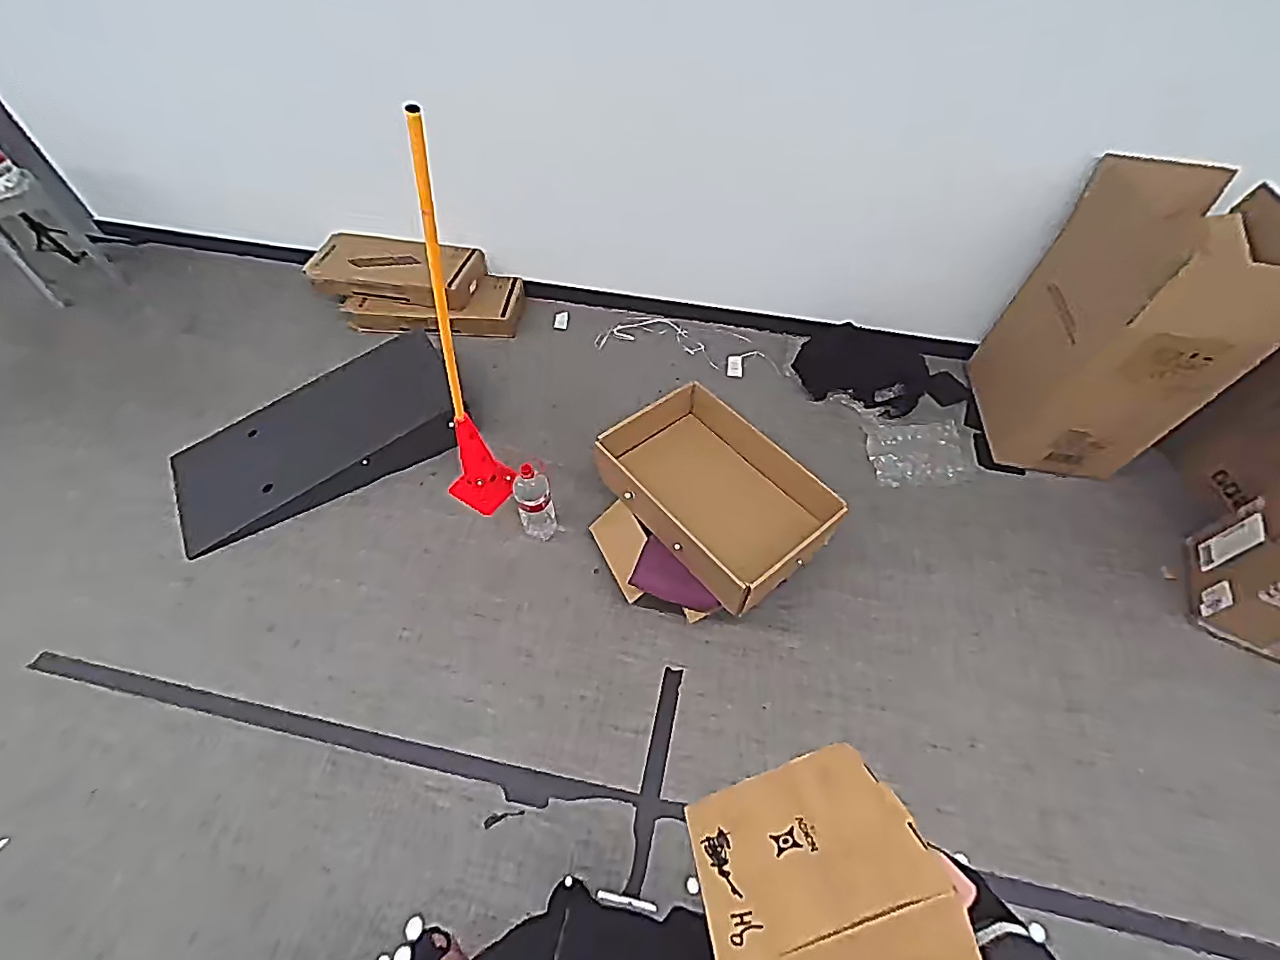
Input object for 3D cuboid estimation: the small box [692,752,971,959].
[{"bbox_3d":[0.163,0.385,0.469,0.179,0.168,0.176,-21,97,-2],"label":"small box"}]
